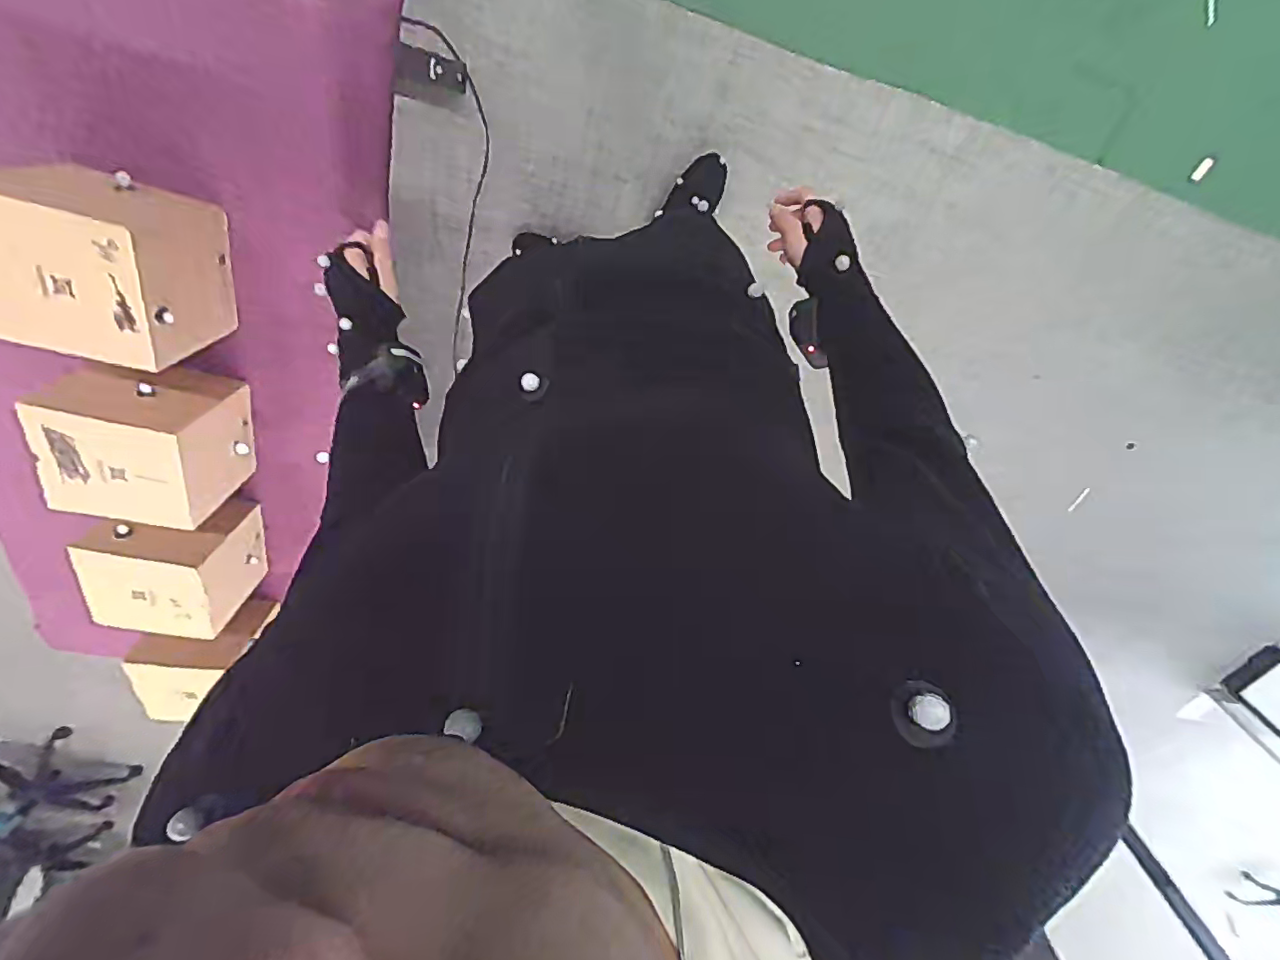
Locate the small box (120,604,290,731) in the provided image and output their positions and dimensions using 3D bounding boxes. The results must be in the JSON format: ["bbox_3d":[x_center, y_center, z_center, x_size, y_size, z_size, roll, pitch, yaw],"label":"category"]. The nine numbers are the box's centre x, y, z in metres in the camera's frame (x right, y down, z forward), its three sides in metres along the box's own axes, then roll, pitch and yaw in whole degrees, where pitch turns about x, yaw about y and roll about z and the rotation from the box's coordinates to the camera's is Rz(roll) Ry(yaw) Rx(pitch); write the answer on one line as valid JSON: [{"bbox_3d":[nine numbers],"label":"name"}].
[{"bbox_3d":[-0.809,0.348,1.029,0.179,0.176,0.168,7,123,-8],"label":"small box"}]

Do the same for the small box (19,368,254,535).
[{"bbox_3d":[-0.698,-0.050,0.776,0.179,0.176,0.168,13,122,-12],"label":"small box"}]

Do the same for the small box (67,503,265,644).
[{"bbox_3d":[-0.765,0.141,0.896,0.179,0.176,0.168,12,122,-11],"label":"small box"}]

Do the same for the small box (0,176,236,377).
[{"bbox_3d":[-0.634,-0.250,0.649,0.179,0.176,0.168,13,122,-11],"label":"small box"}]
